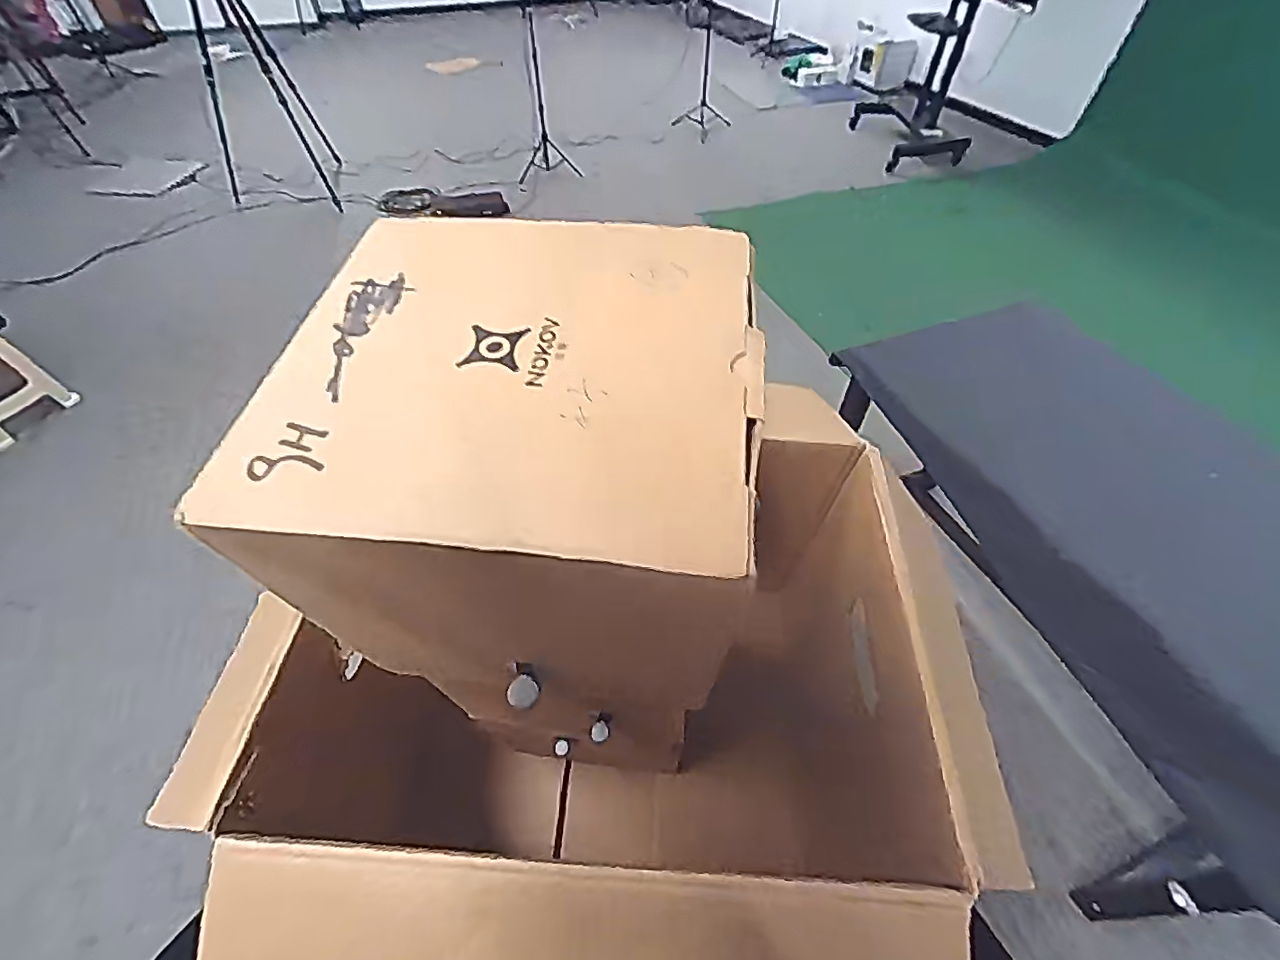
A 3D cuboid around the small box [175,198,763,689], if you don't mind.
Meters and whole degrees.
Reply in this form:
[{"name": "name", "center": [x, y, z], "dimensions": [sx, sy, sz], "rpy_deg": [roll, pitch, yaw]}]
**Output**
[{"name": "small box", "center": [-0.044, -0.006, 0.265], "dimensions": [0.179, 0.176, 0.168], "rpy_deg": [6, 56, 4]}]
